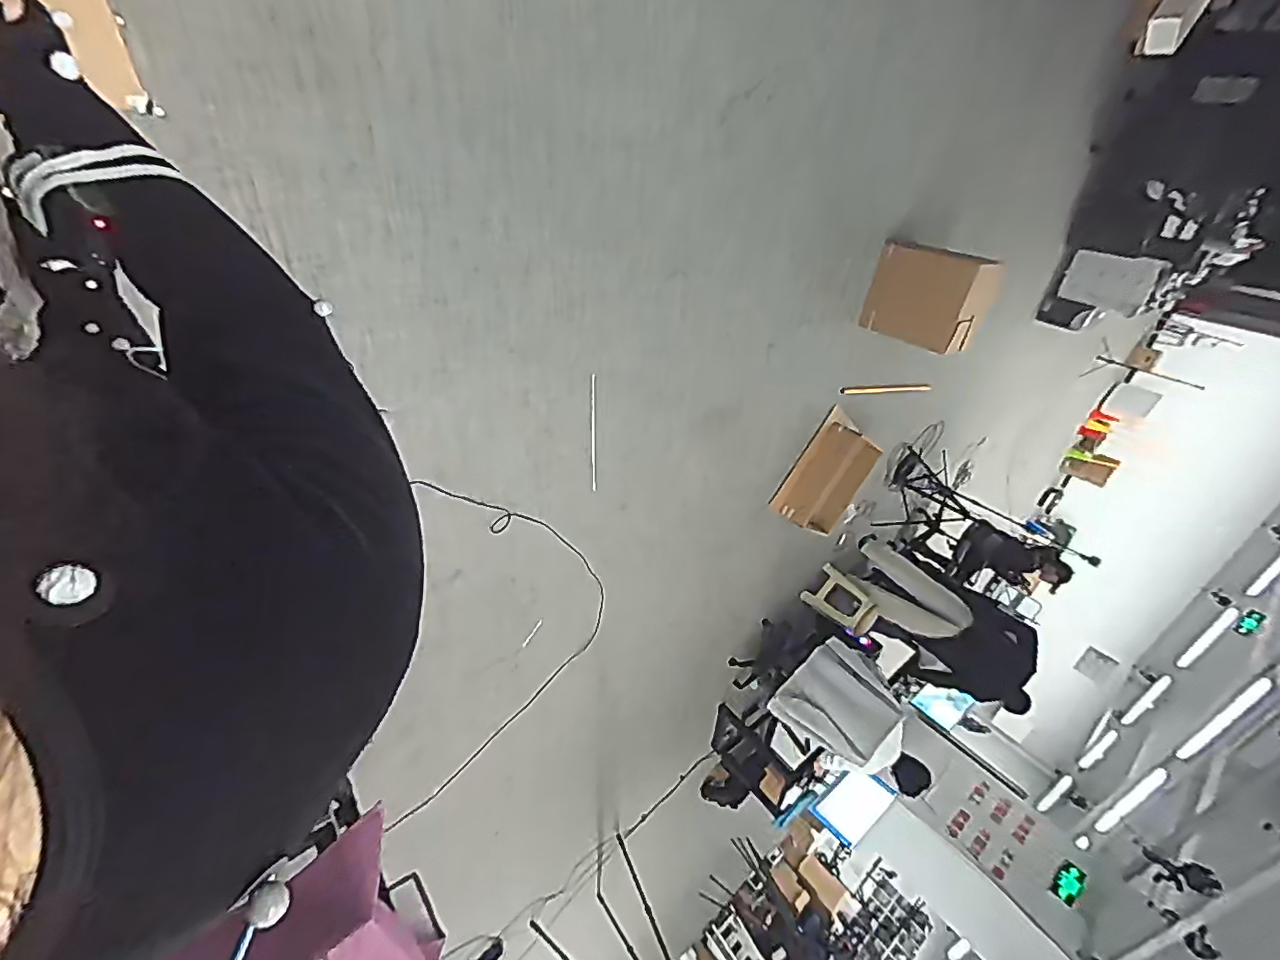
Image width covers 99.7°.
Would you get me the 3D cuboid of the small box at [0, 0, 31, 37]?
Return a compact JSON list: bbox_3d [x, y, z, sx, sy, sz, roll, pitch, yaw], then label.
[{"bbox_3d":[-0.739,-0.530,0.511,0.179,0.176,0.168,-23,134,-28],"label":"small box"}]
